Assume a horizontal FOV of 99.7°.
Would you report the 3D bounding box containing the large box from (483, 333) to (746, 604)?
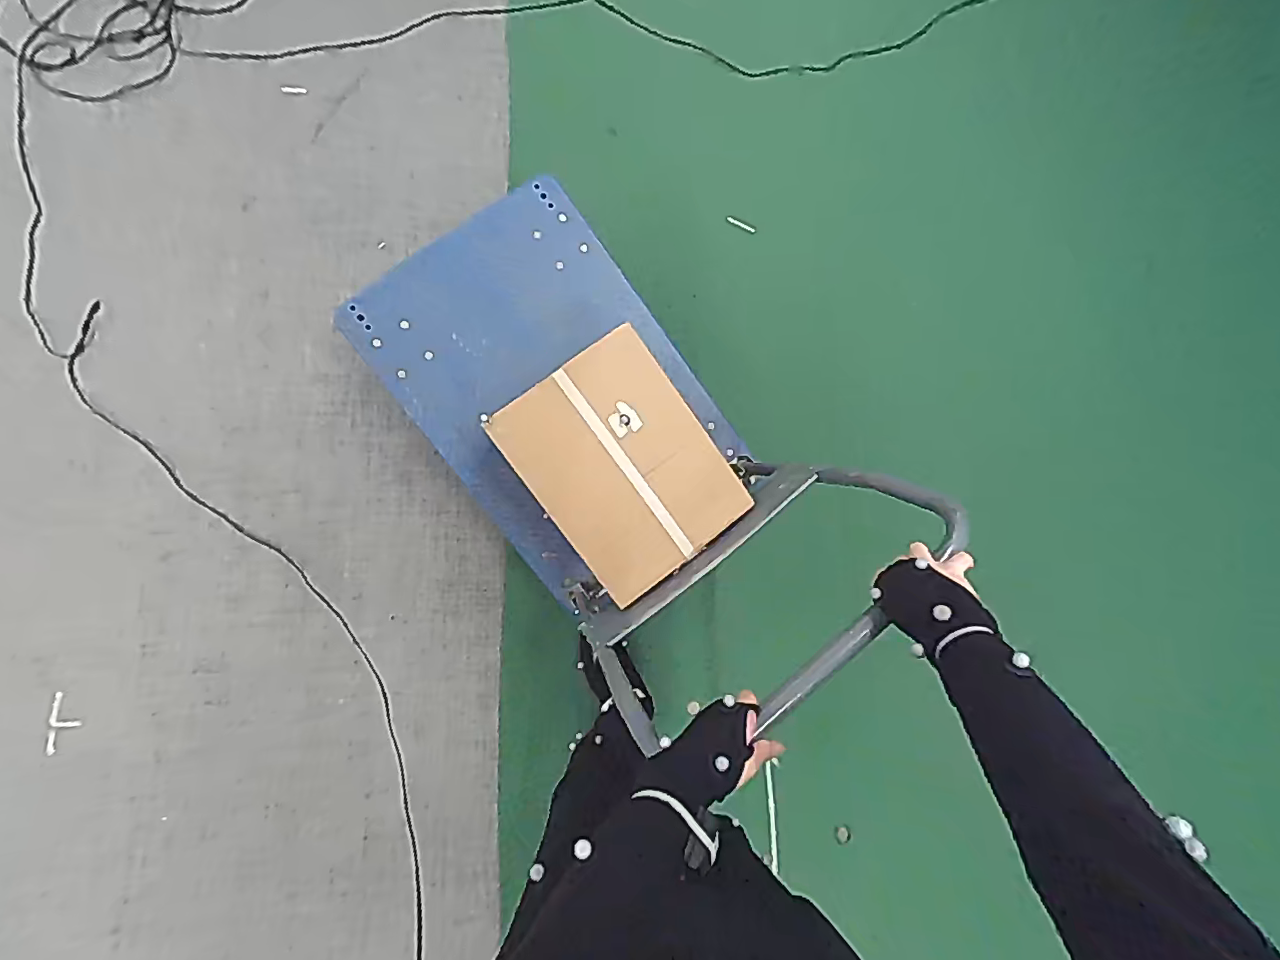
[{"bbox_3d":[-0.058,-0.020,1.119,0.320,0.320,0.408,-37,96,-8],"label":"large box"}]
